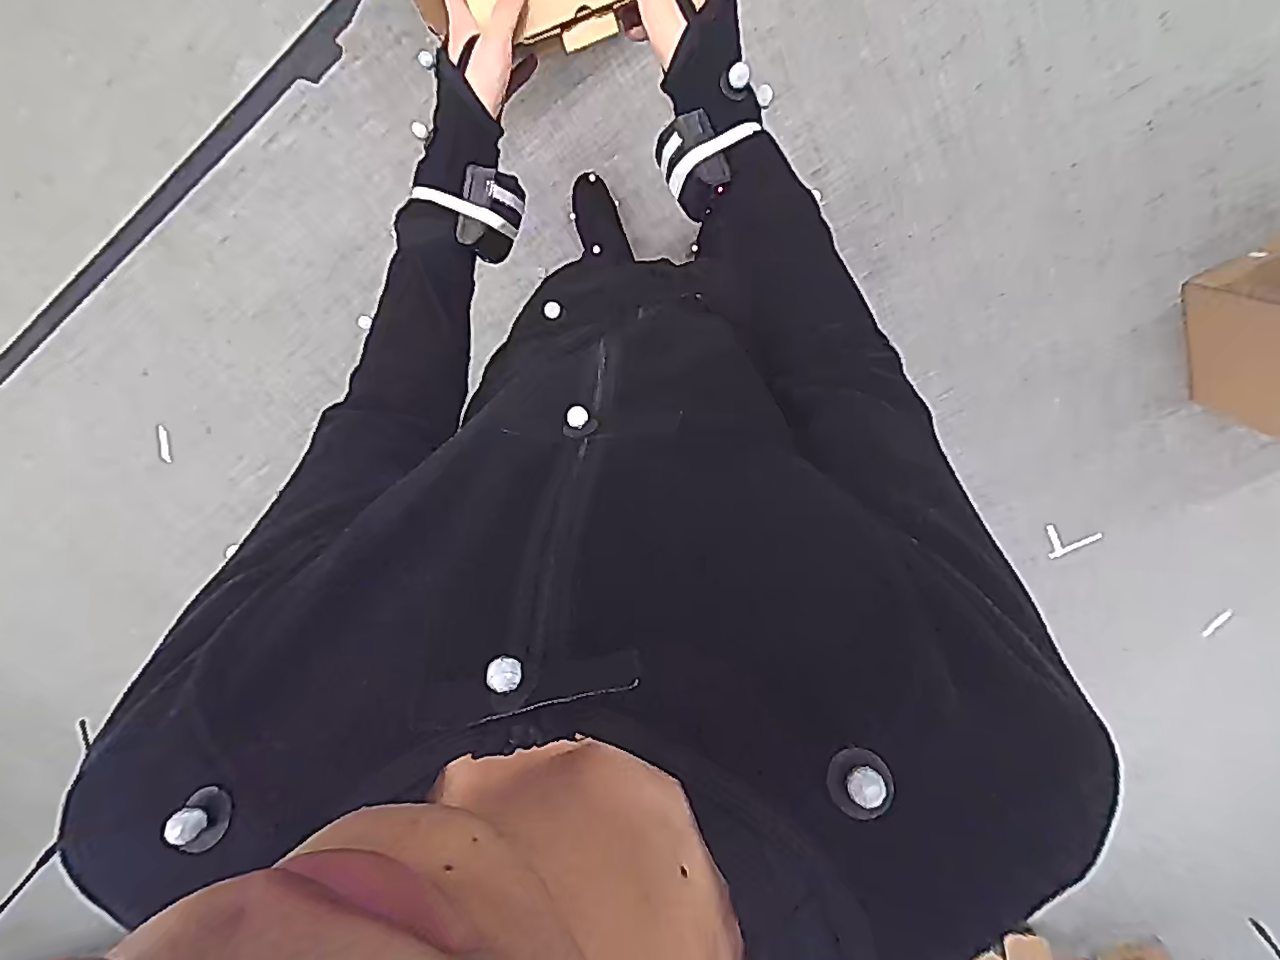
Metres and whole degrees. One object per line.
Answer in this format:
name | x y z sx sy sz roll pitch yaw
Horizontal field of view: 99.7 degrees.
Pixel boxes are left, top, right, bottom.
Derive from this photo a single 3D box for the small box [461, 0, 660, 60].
small box | -0.075 -0.468 0.435 0.168 0.176 0.179 -16 124 7
